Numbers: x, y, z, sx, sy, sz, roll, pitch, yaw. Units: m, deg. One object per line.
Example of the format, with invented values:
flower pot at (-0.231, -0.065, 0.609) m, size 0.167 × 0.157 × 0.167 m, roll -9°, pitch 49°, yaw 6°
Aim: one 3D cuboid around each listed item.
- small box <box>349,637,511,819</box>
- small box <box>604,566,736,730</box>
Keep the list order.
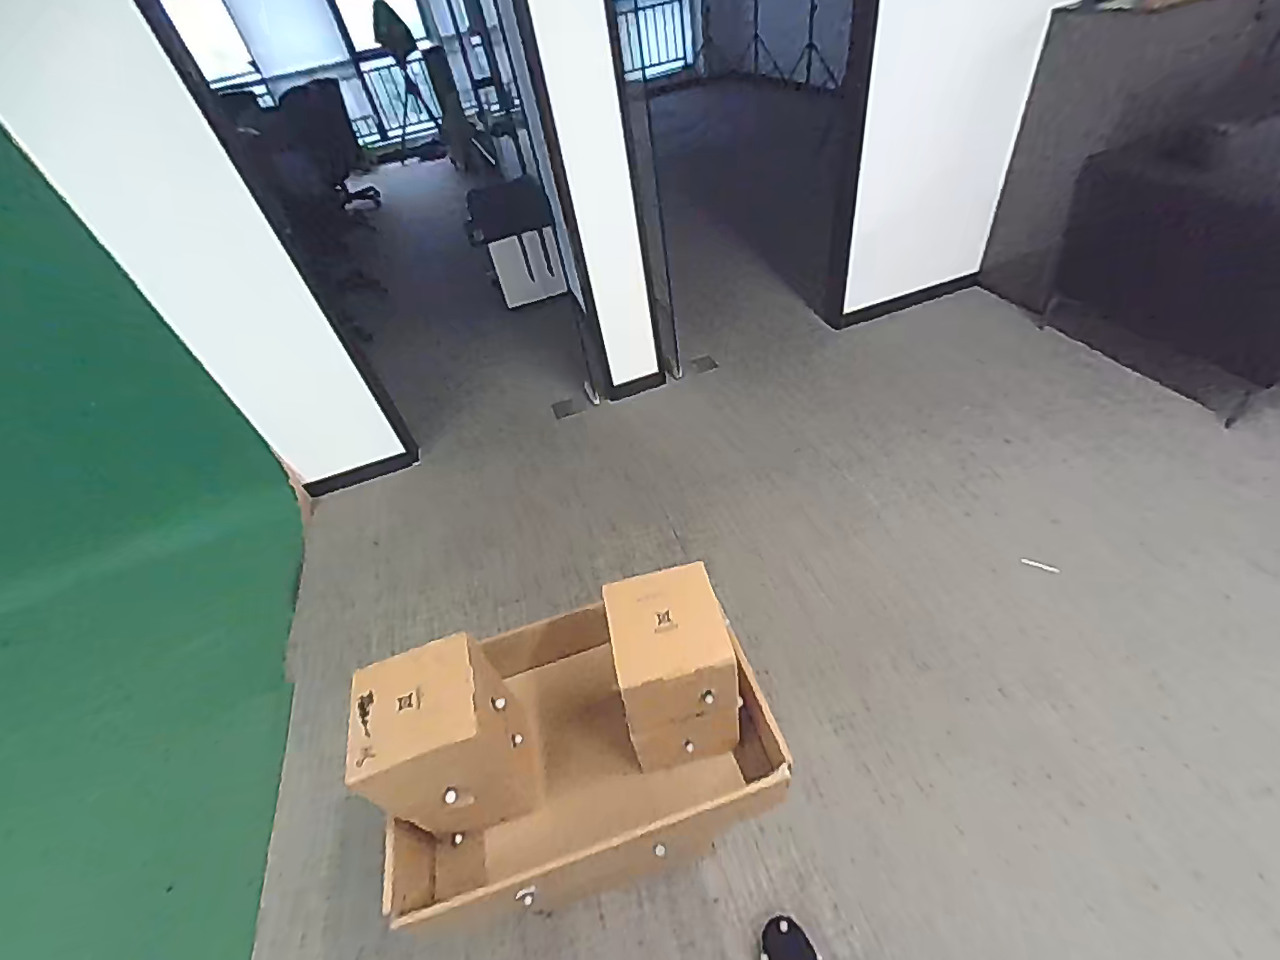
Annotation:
small box at (-0.302, 0.372, 0.810) m, size 0.179 × 0.176 × 0.168 m, roll -18°, pitch 43°, yaw -7°
small box at (0.048, 0.266, 0.840) m, size 0.168 × 0.176 × 0.179 m, roll -13°, pitch 42°, yaw -2°
